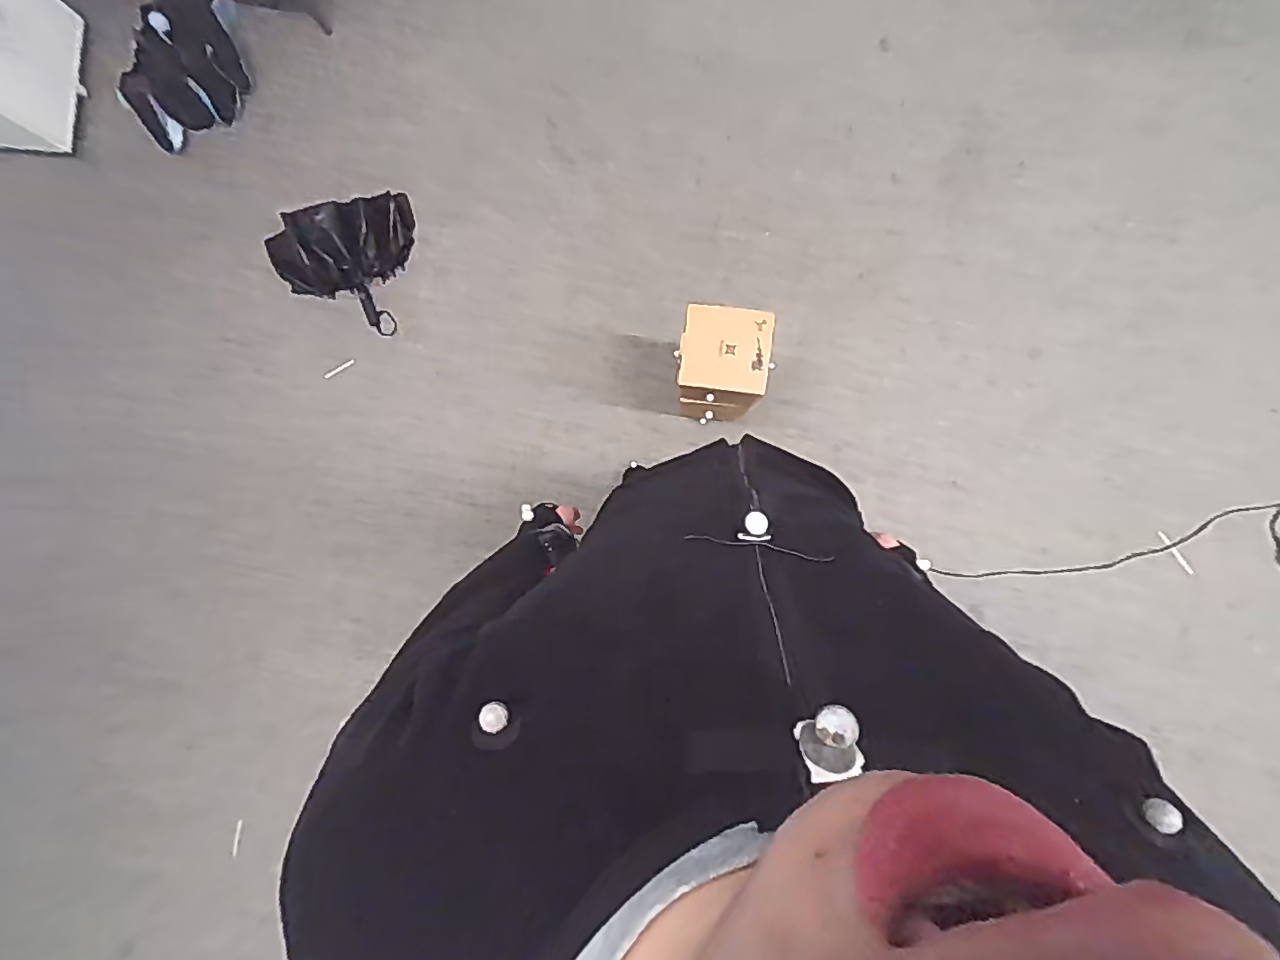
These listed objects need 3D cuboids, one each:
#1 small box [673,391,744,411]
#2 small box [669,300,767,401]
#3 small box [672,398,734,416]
[{"bbox_3d":[0.169,-0.270,1.315,0.168,0.176,0.179,6,91,3],"label":"small box"},{"bbox_3d":[0.160,-0.268,1.151,0.179,0.176,0.168,8,91,4],"label":"small box"},{"bbox_3d":[0.179,-0.278,1.478,0.168,0.176,0.179,6,92,3],"label":"small box"}]
